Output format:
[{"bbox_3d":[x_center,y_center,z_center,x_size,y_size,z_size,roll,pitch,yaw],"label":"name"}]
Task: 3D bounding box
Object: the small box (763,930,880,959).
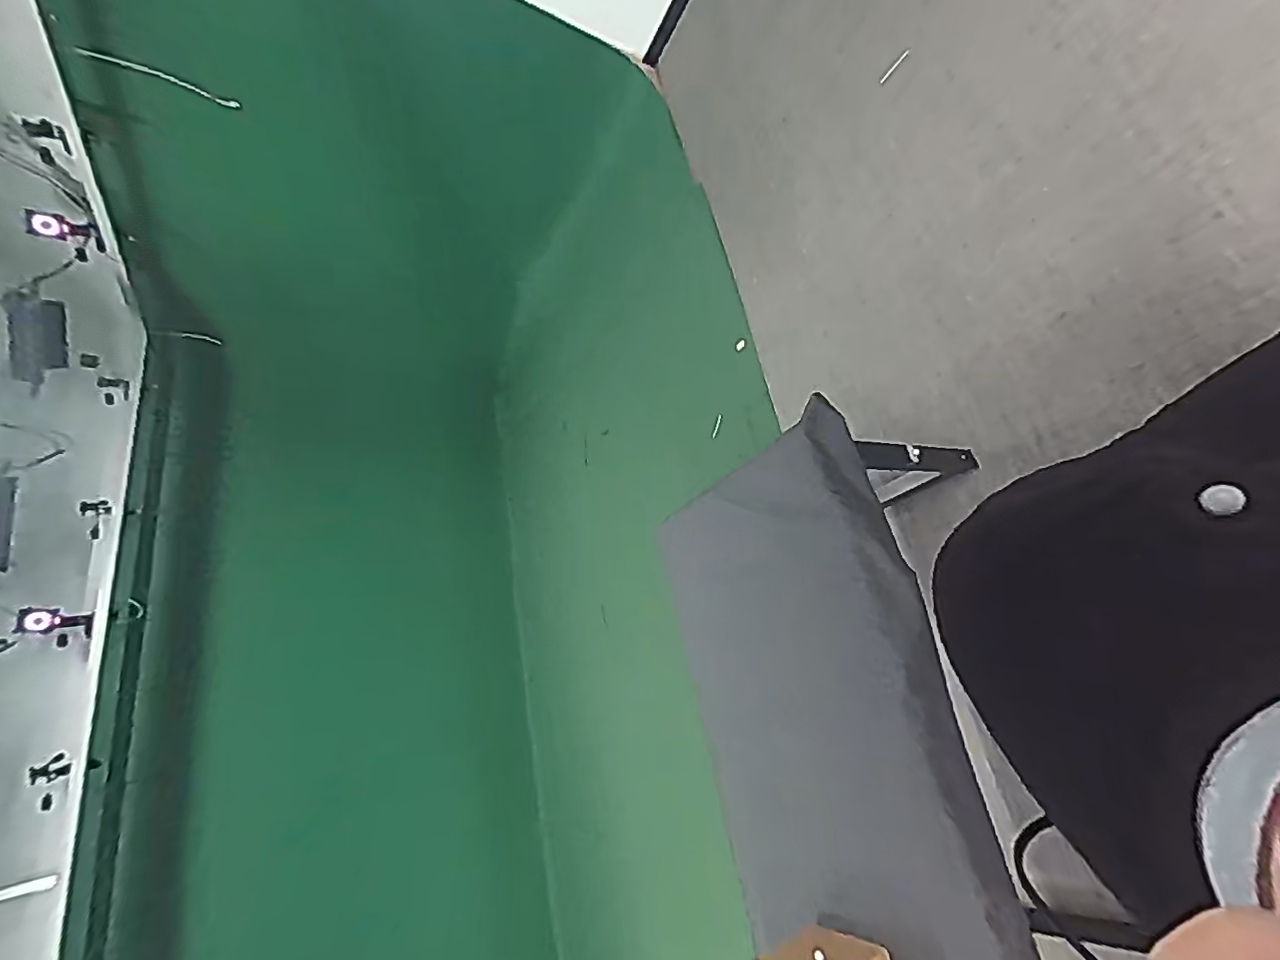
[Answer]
[{"bbox_3d":[0.327,0.931,0.945,0.179,0.176,0.168,-37,58,49],"label":"small box"}]
